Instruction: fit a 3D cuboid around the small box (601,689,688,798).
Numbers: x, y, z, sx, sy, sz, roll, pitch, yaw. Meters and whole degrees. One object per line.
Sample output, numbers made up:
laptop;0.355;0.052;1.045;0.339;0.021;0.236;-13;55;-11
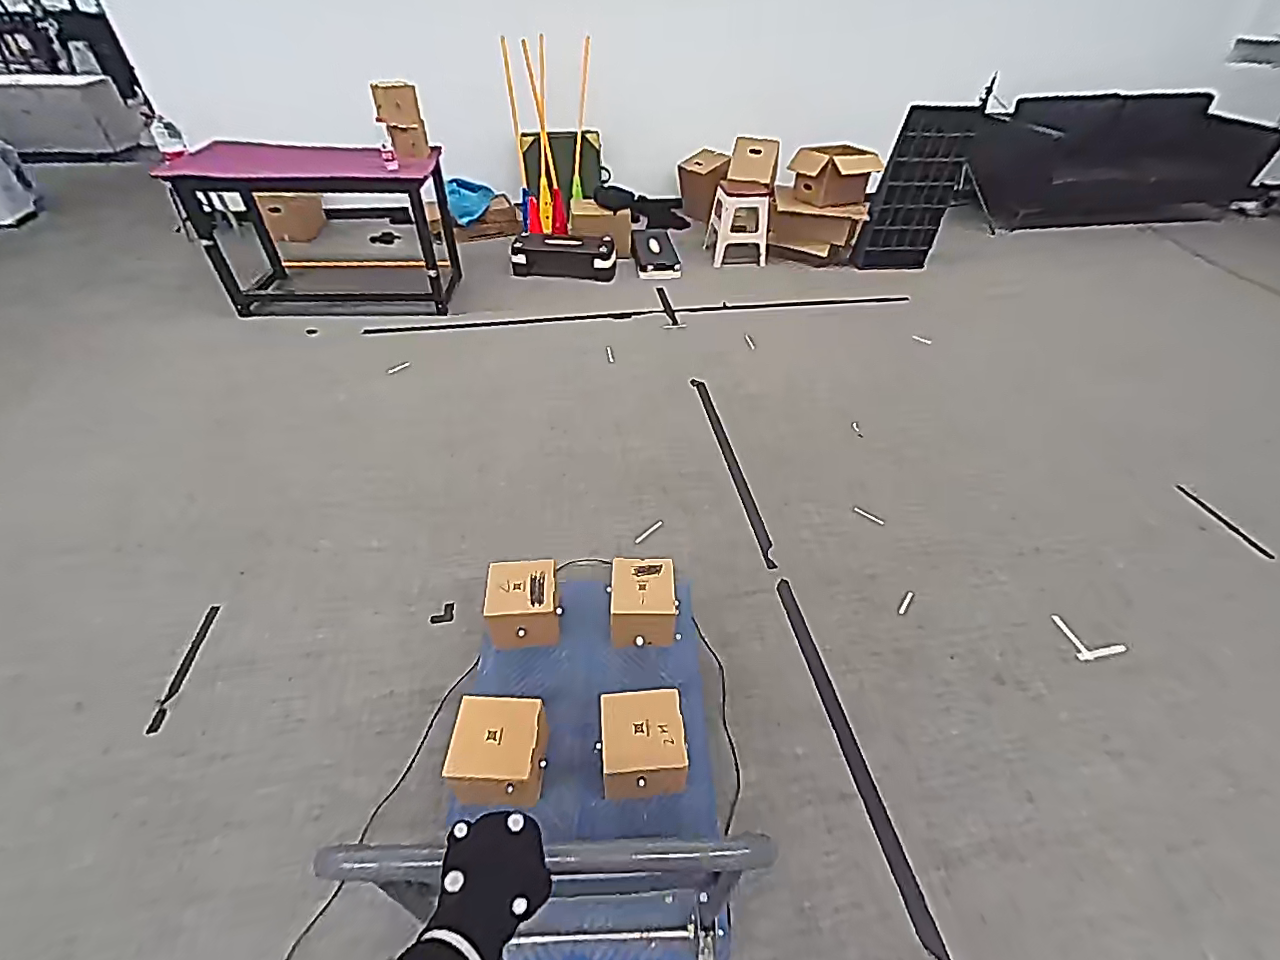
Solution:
small box;0.006;0.584;1.195;0.179;0.176;0.168;-2;44;-4

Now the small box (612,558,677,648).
small box;0.009;0.331;1.463;0.168;0.176;0.179;1;44;-1

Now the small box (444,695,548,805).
small box;-0.303;0.590;1.178;0.179;0.176;0.168;3;43;-1
